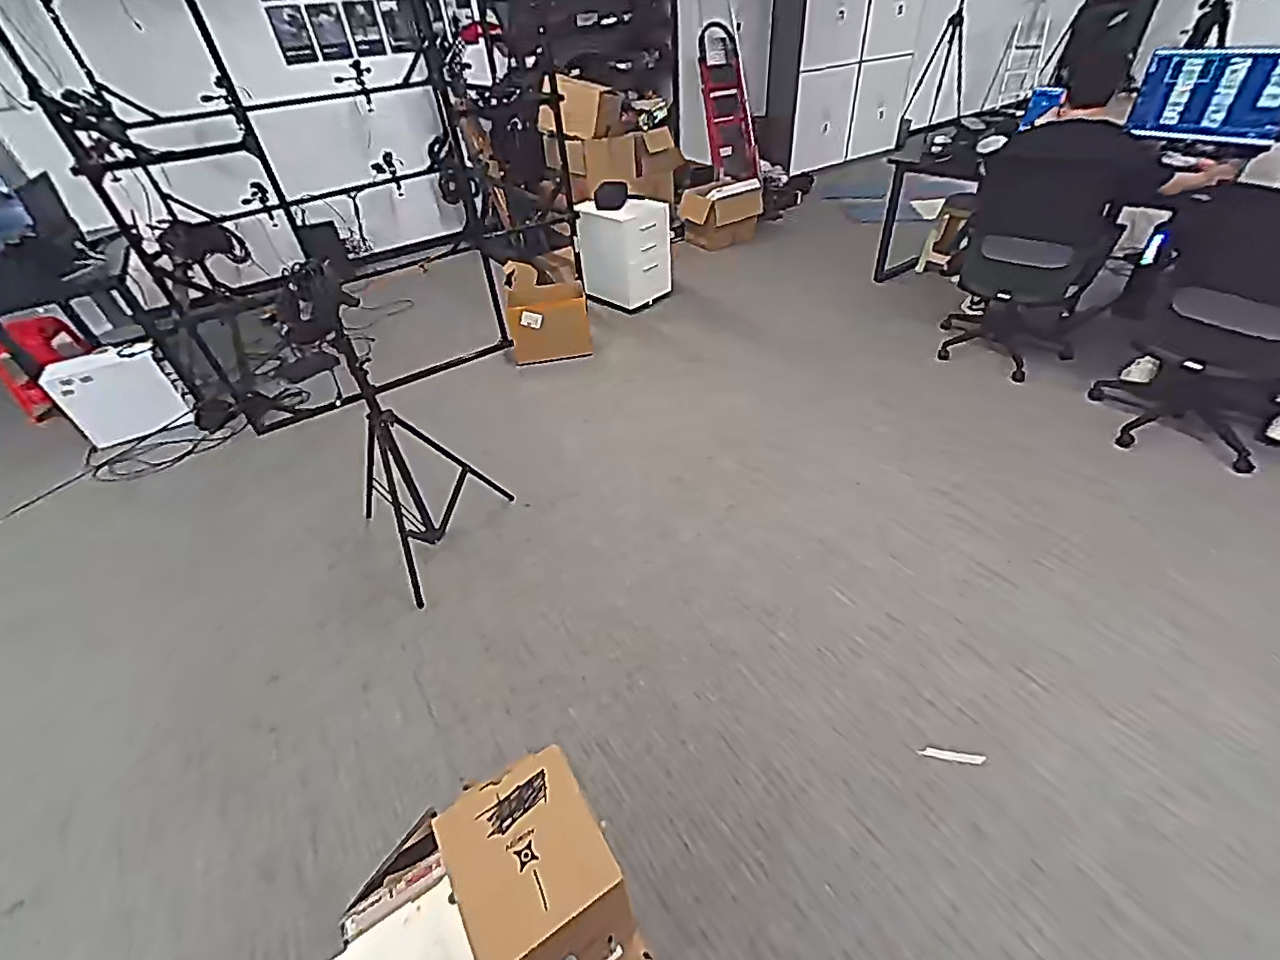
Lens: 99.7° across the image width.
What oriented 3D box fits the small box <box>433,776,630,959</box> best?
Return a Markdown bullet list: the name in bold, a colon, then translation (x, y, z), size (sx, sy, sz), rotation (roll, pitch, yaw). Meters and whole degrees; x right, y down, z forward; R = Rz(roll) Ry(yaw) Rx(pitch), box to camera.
- **small box**: translation (-0.125, 0.509, 0.649), size (0.168, 0.176, 0.179), rotation (-24, 46, -23)
